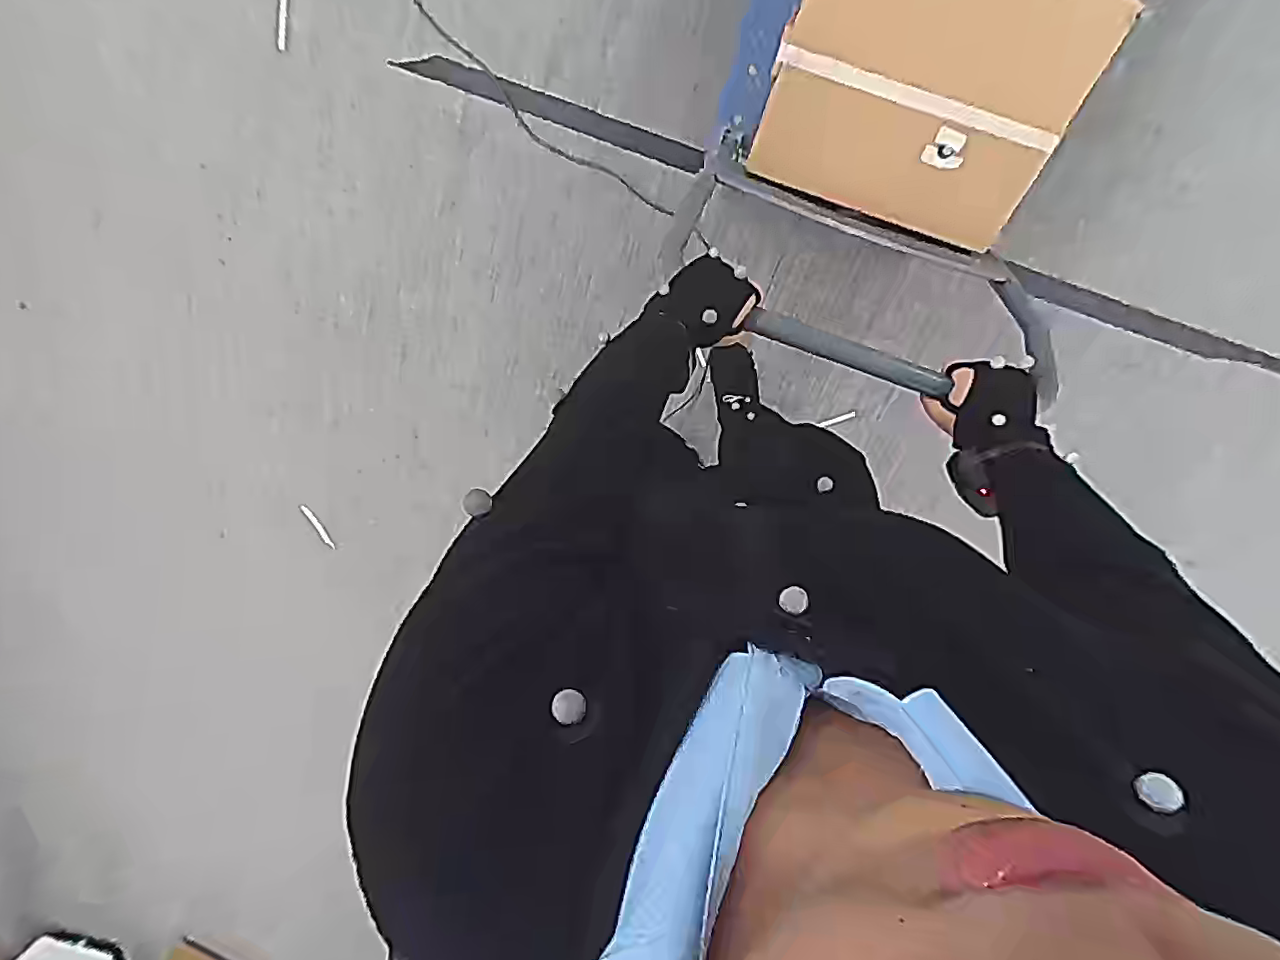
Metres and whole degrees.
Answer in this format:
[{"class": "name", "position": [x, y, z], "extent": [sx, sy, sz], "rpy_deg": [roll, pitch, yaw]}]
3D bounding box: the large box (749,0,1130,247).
[{"class": "large box", "position": [0.427, -0.635, 0.895], "extent": [0.408, 0.320, 0.320], "rpy_deg": [19, 129, 0]}]
